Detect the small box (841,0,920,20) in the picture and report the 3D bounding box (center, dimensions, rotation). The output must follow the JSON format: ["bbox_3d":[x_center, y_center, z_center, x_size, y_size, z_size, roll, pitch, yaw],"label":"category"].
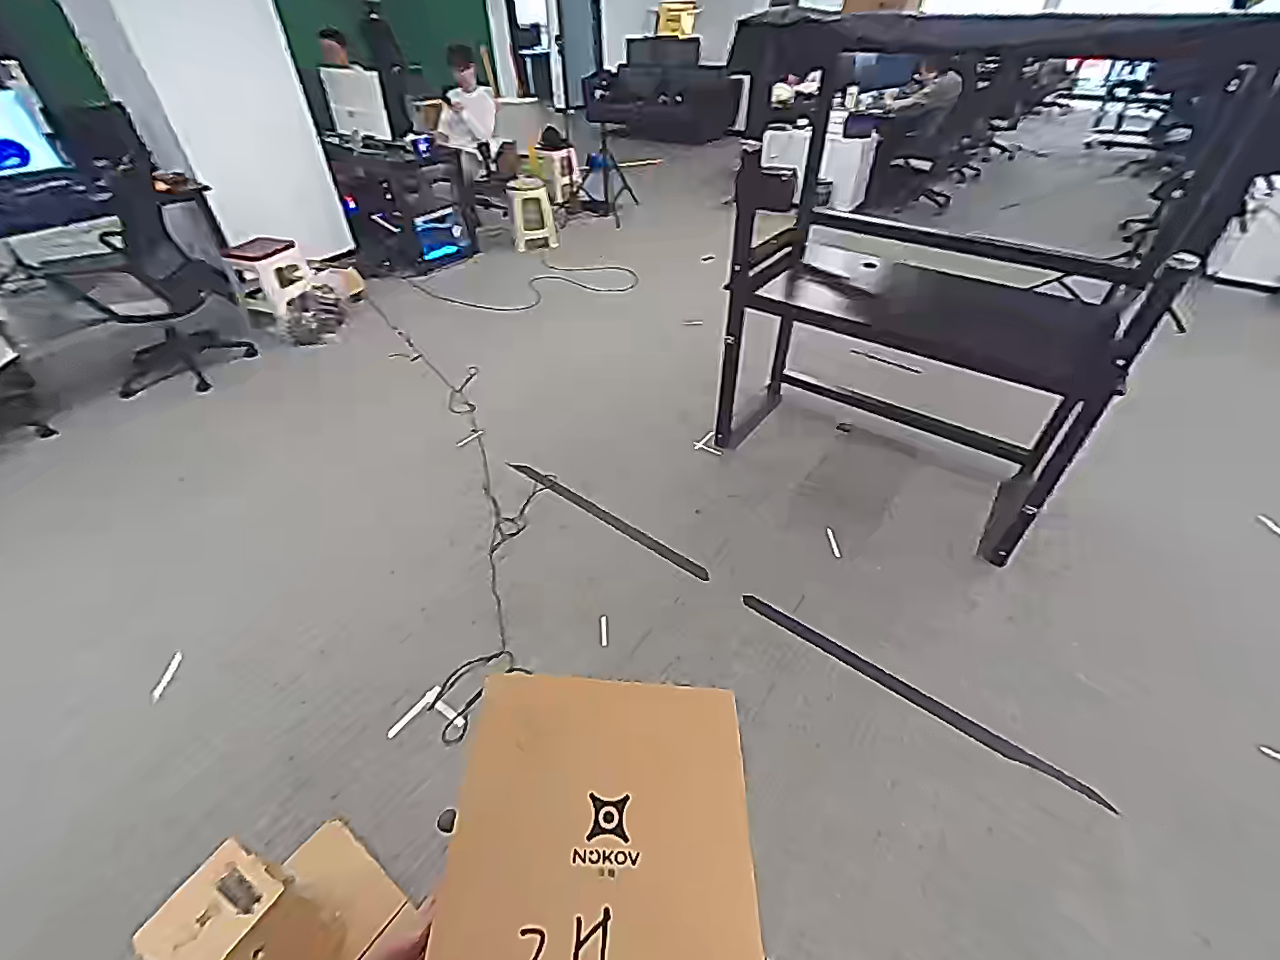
[{"bbox_3d":[0.625,-1.277,1.366,0.168,0.176,0.179,23,46,24],"label":"small box"}]

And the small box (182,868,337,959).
[{"bbox_3d":[-0.740,0.932,1.079,0.168,0.176,0.179,22,46,24],"label":"small box"}]
